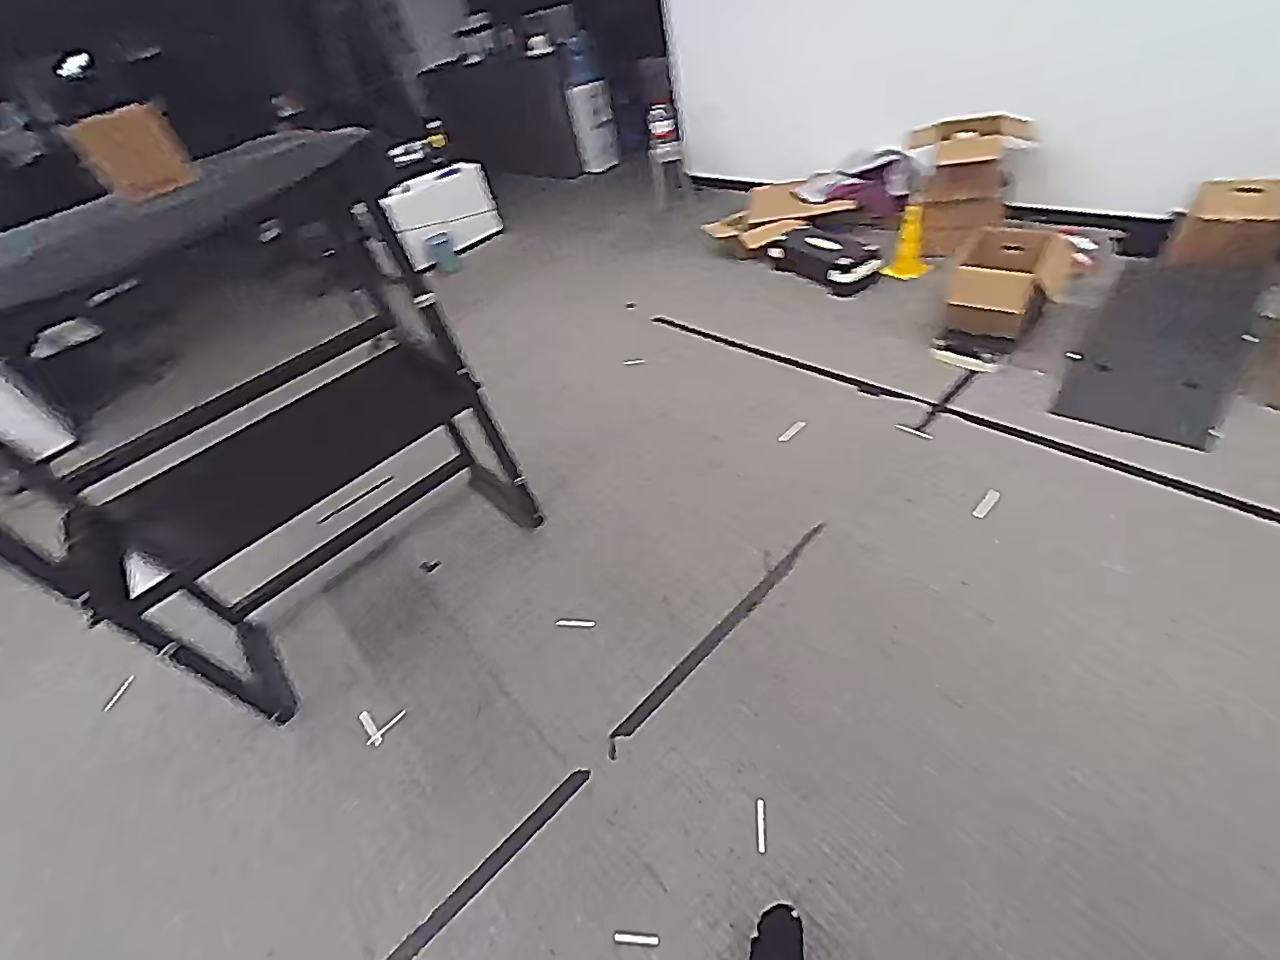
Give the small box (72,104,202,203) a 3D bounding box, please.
[{"bbox_3d":[-1.226,-0.799,1.328,0.168,0.176,0.179,-41,48,-24],"label":"small box"}]
